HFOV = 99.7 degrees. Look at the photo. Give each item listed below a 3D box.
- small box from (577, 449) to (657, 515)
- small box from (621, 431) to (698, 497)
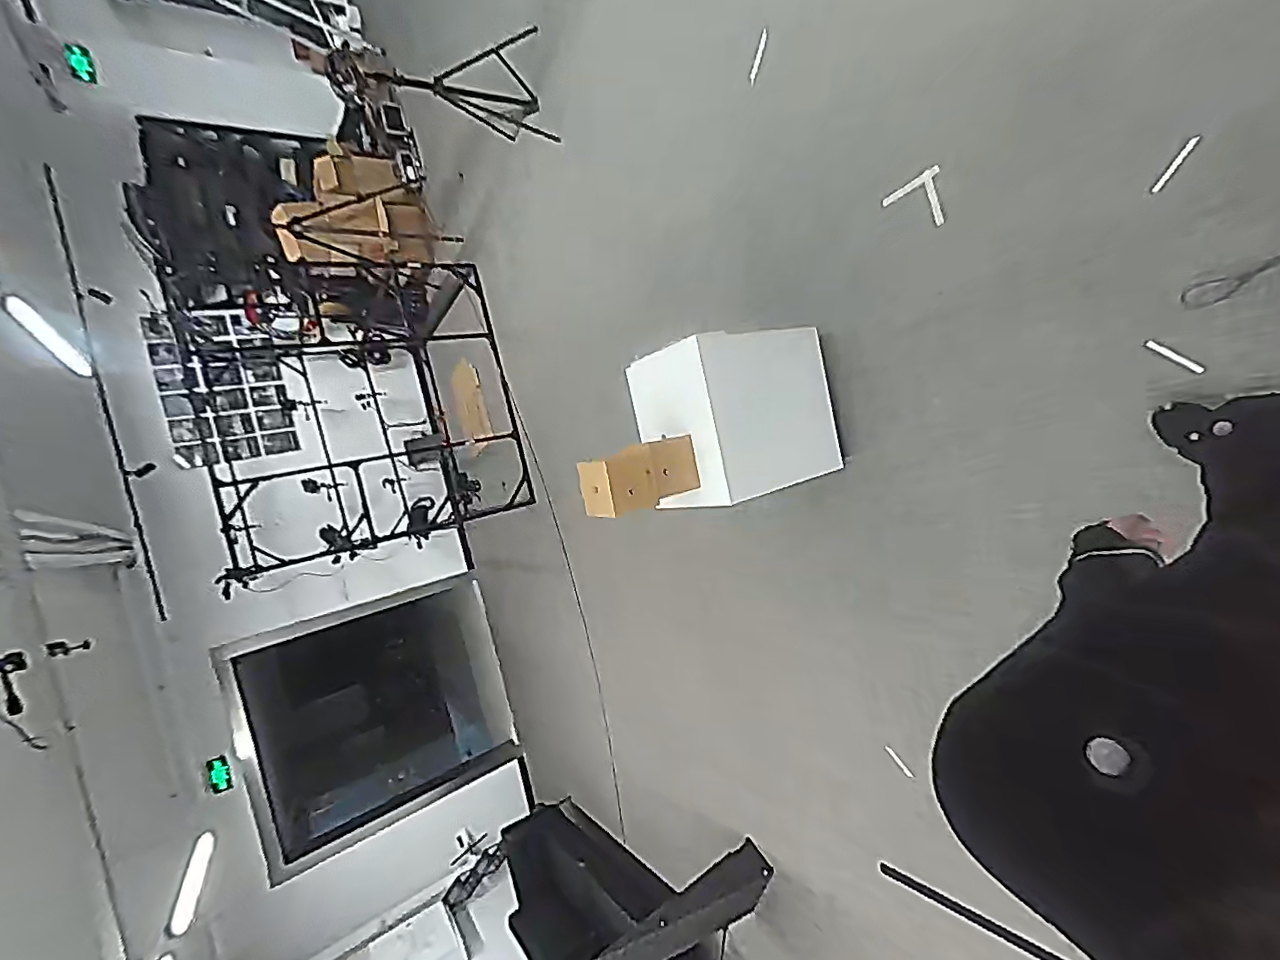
[{"bbox_3d":[-0.063,0.003,1.625,0.179,0.176,0.168,-2,101,57],"label":"small box"},{"bbox_3d":[0.065,-0.048,1.712,0.168,0.176,0.179,-5,97,56],"label":"small box"}]
